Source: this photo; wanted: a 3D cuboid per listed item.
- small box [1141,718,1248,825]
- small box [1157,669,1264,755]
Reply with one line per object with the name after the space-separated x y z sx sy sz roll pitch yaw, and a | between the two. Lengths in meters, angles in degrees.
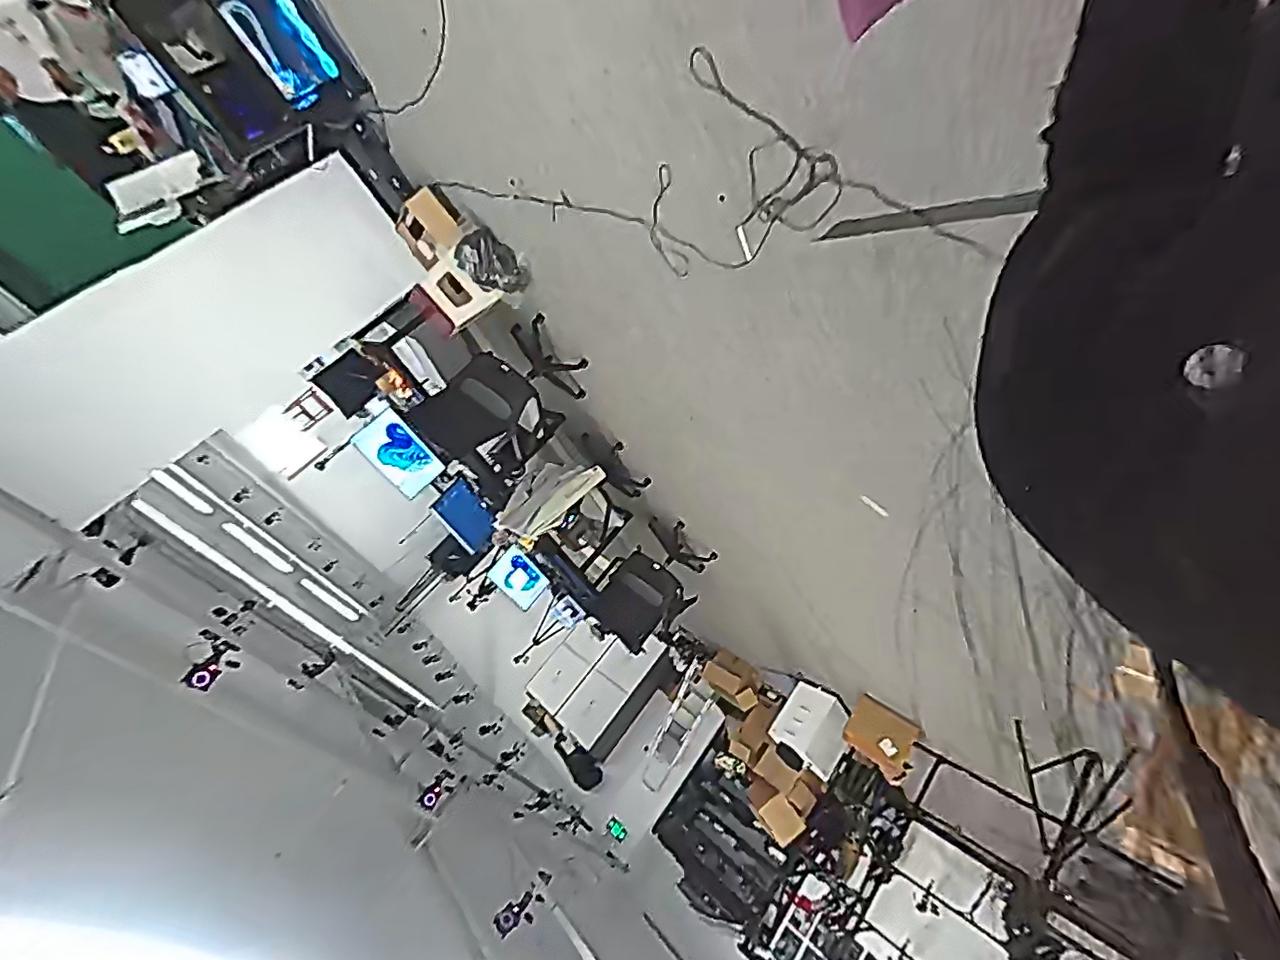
1.520 0.793 1.485 0.168 0.176 0.179 20 149 46 | small box
1.619 0.672 1.536 0.168 0.176 0.179 22 152 43 | small box
